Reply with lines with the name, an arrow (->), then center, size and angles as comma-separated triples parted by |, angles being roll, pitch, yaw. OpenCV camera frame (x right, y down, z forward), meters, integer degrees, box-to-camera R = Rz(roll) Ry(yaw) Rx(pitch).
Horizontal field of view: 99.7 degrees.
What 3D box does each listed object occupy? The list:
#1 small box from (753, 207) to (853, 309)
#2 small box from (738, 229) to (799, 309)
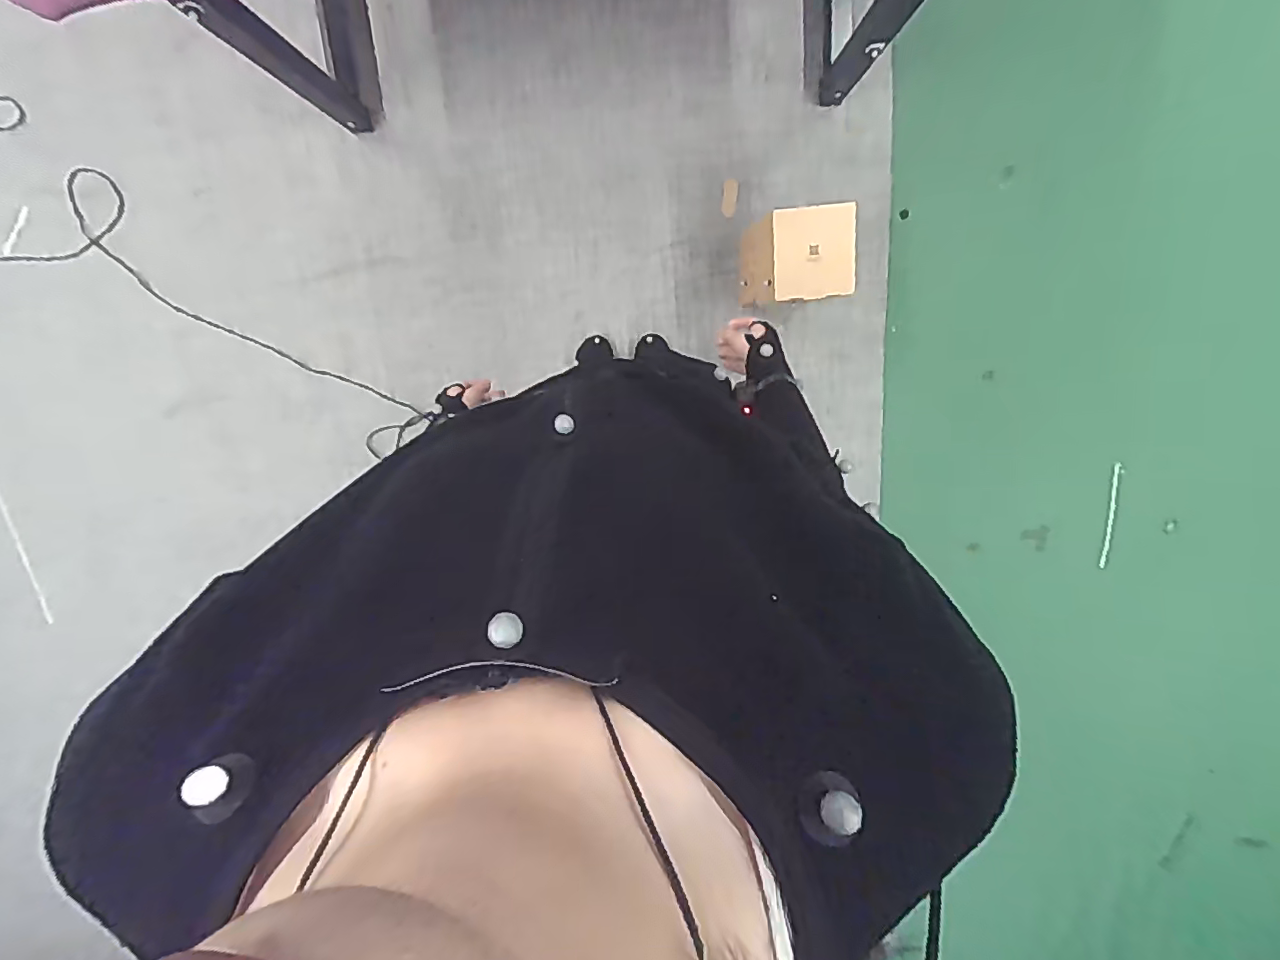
small box -> 0.343, -0.468, 1.162 | 0.168, 0.176, 0.179 | -5, 105, 1
small box -> 0.337, -0.510, 1.318 | 0.179, 0.176, 0.168 | -3, 104, 0
